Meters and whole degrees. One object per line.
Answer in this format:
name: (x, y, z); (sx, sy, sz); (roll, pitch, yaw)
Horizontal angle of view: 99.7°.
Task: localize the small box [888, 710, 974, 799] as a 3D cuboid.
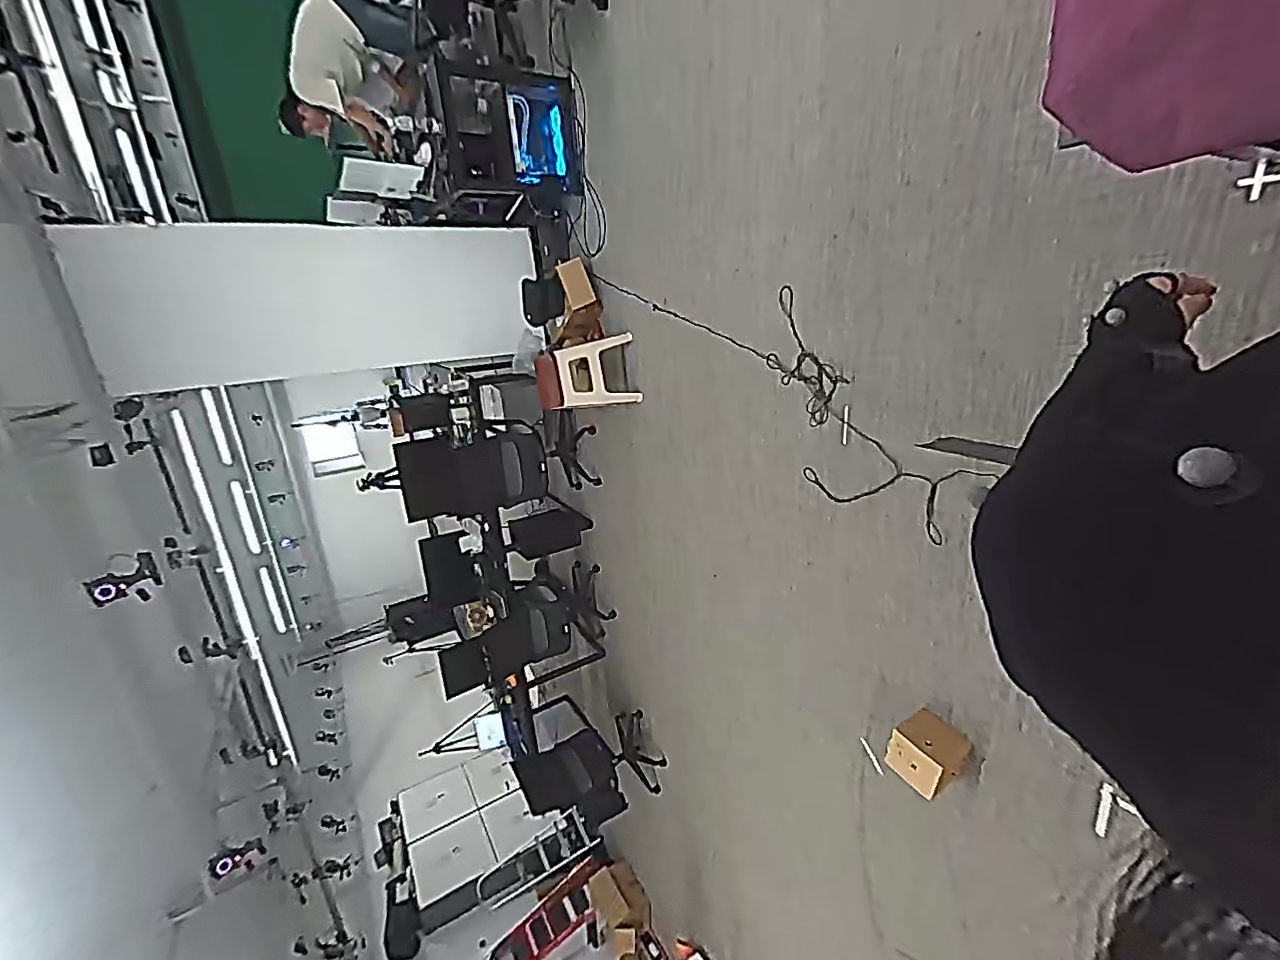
small box: (0.966, 0.903, 1.796); (0.179, 0.176, 0.168); (37, 133, 50)
